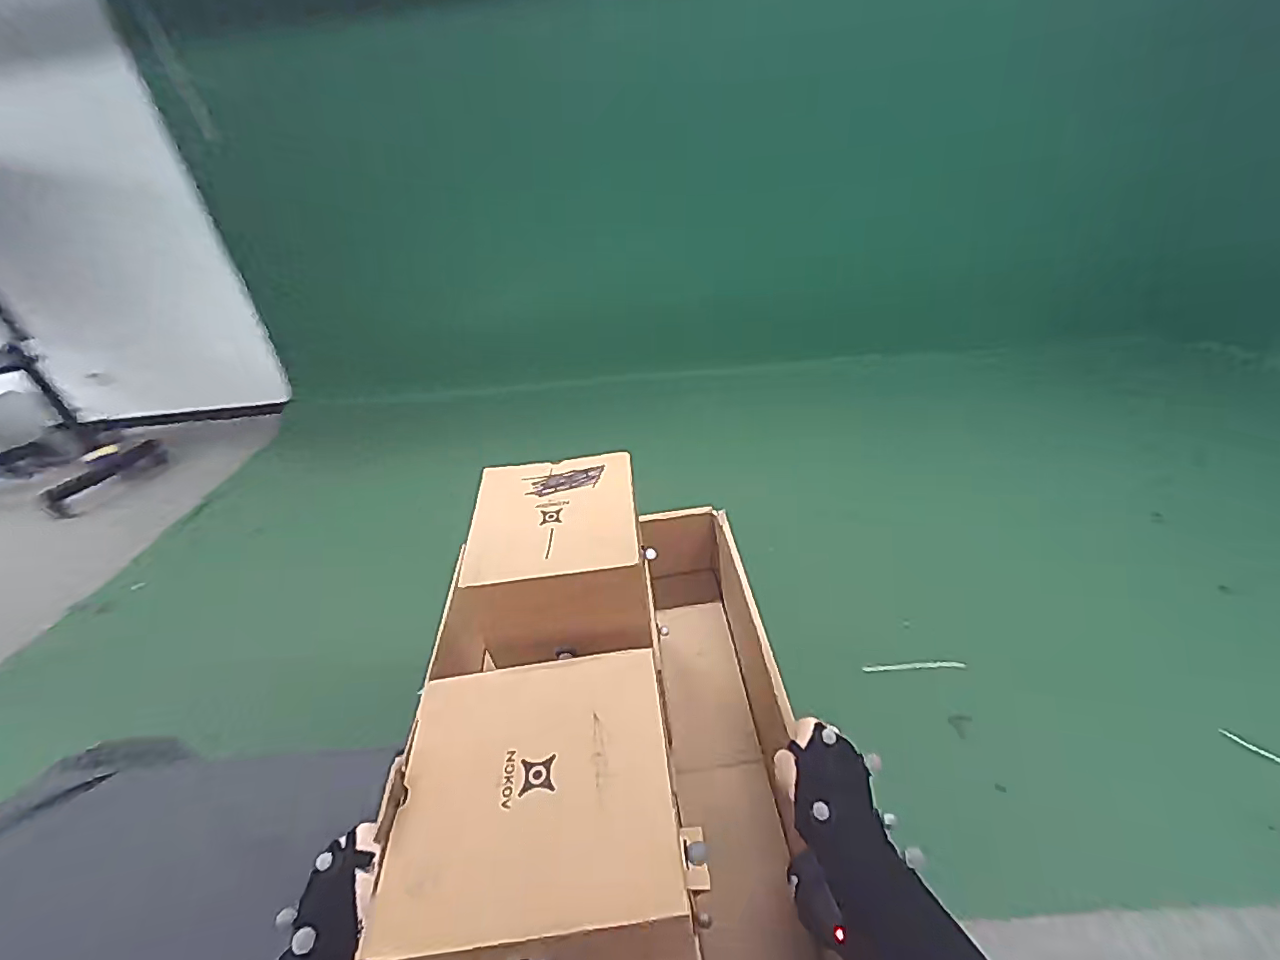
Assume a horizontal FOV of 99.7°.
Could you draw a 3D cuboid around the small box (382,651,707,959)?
[{"bbox_3d":[-0.051,0.254,0.398,0.179,0.176,0.168,-7,38,-1],"label":"small box"}]
